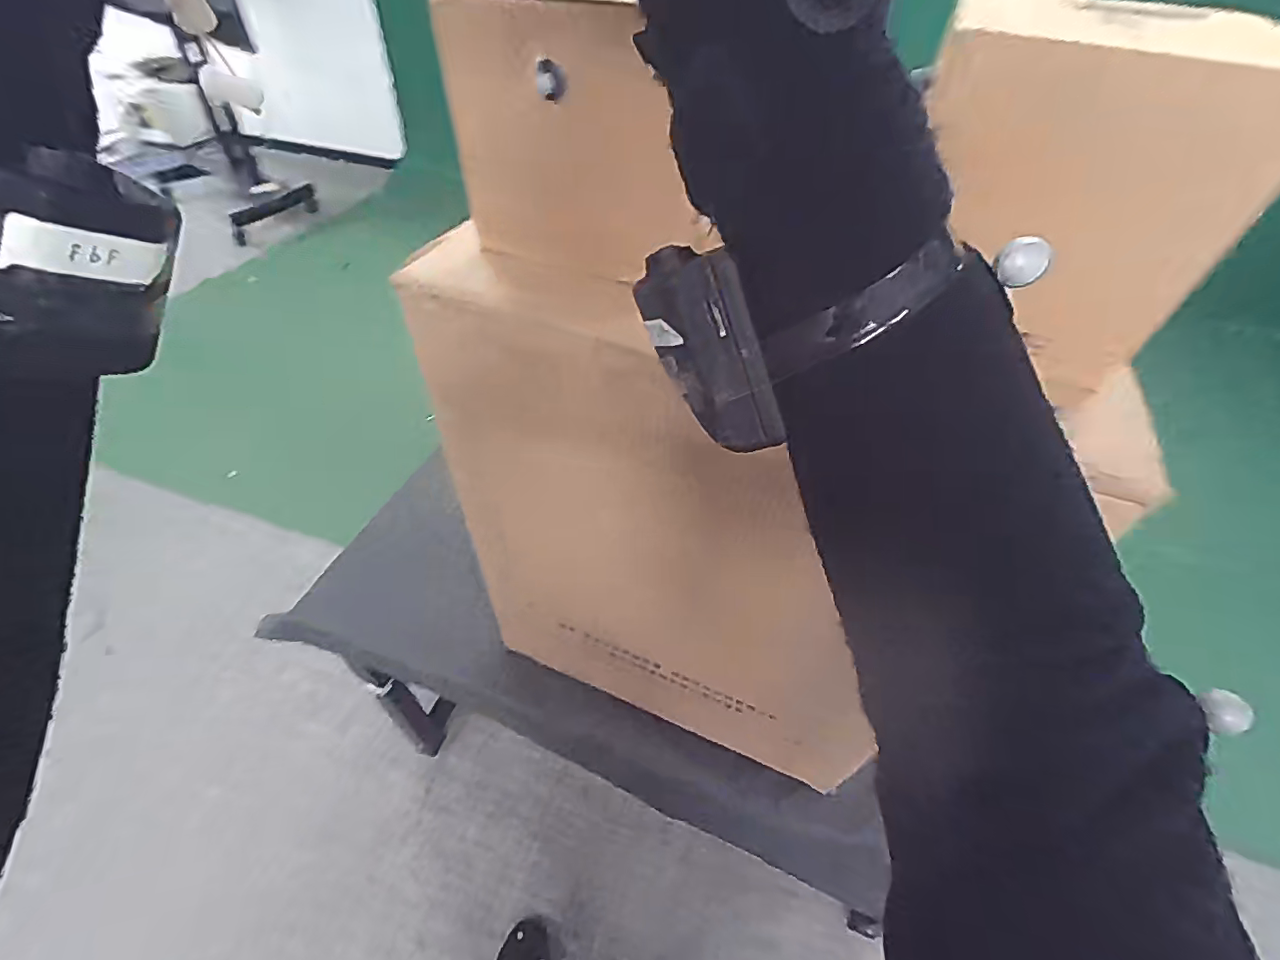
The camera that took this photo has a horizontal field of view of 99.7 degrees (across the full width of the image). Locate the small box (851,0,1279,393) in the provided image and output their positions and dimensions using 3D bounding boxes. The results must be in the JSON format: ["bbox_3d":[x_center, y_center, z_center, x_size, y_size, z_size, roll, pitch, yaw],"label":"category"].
[{"bbox_3d":[0.256,-0.190,0.355,0.168,0.176,0.179,20,52,12],"label":"small box"}]

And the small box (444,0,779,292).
[{"bbox_3d":[-0.014,-0.269,0.413,0.179,0.176,0.168,20,53,13],"label":"small box"}]
